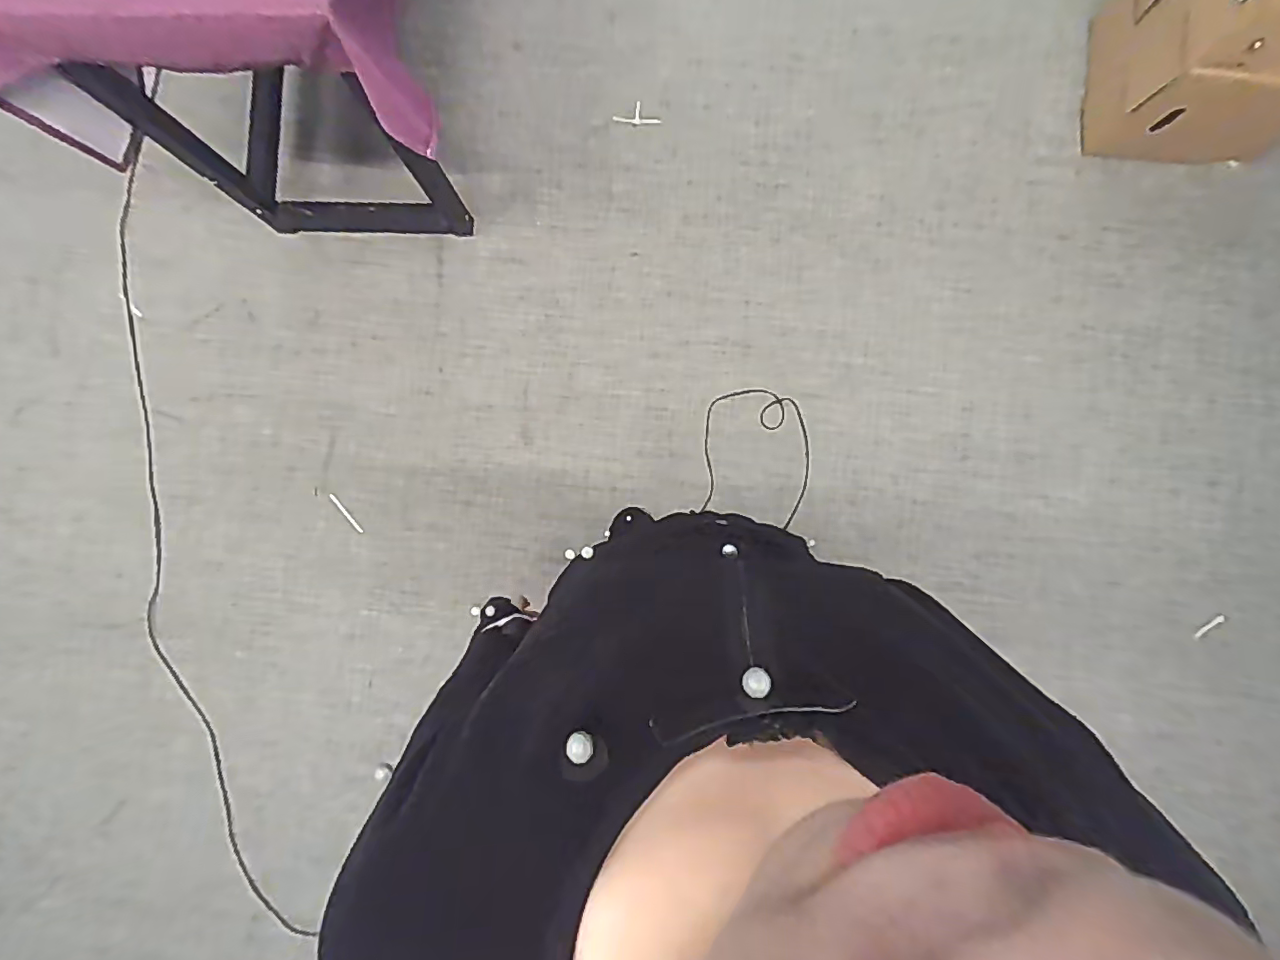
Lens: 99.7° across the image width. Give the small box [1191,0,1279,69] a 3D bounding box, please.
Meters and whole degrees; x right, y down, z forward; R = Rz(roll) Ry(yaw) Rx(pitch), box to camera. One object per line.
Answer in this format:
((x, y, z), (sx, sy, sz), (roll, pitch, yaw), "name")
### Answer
((1.333, -1.021, 1.145), (0.168, 0.176, 0.179), (6, 88, 0), "small box")
